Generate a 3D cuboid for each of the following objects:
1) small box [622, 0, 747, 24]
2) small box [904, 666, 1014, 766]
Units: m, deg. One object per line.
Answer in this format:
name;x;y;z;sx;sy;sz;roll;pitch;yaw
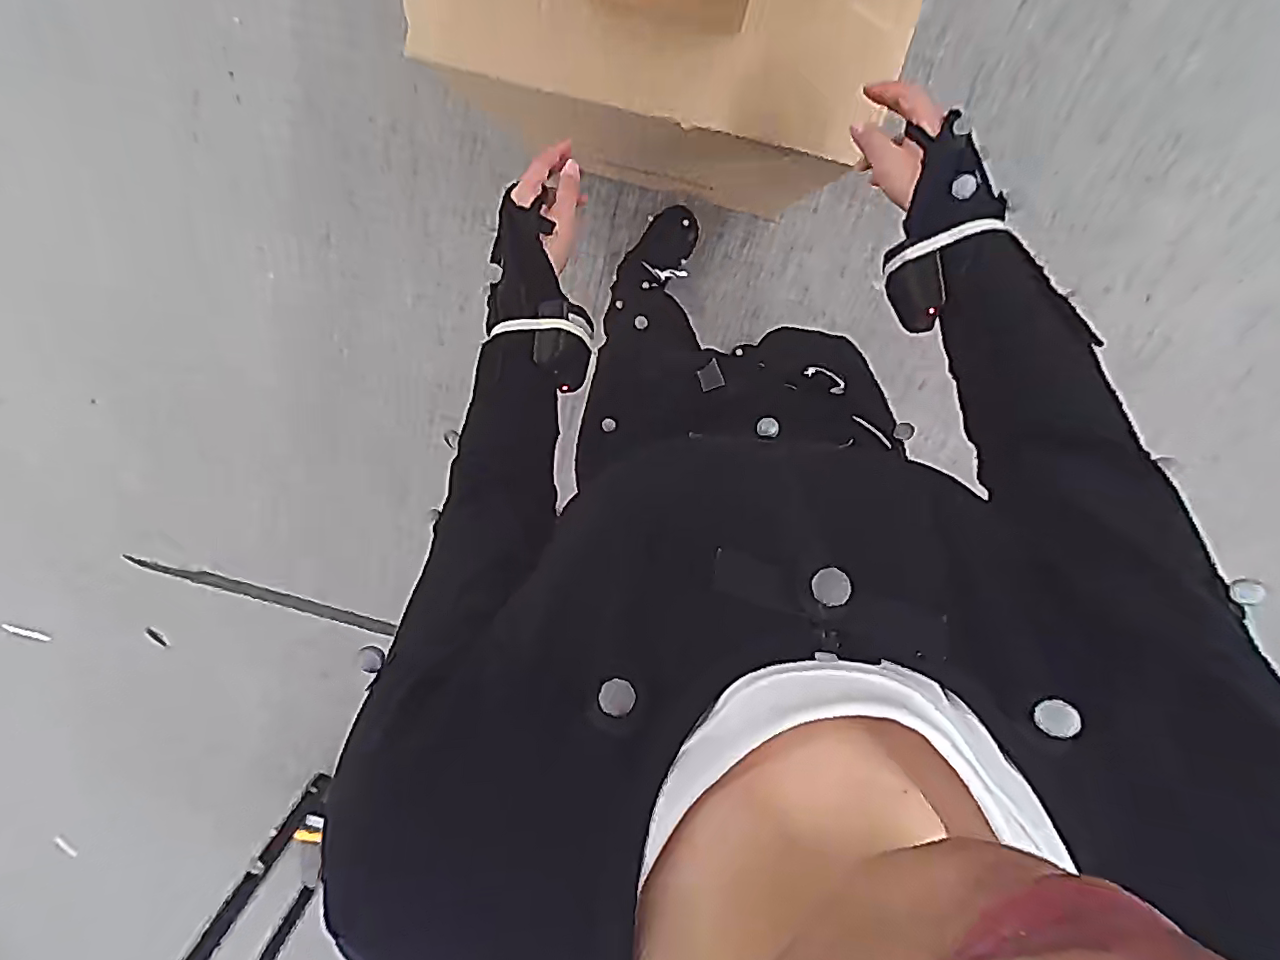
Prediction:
small box;0.032;-0.522;0.448;0.179;0.176;0.168;14;112;0
small box;0.869;0.644;1.492;0.179;0.176;0.168;14;111;0
